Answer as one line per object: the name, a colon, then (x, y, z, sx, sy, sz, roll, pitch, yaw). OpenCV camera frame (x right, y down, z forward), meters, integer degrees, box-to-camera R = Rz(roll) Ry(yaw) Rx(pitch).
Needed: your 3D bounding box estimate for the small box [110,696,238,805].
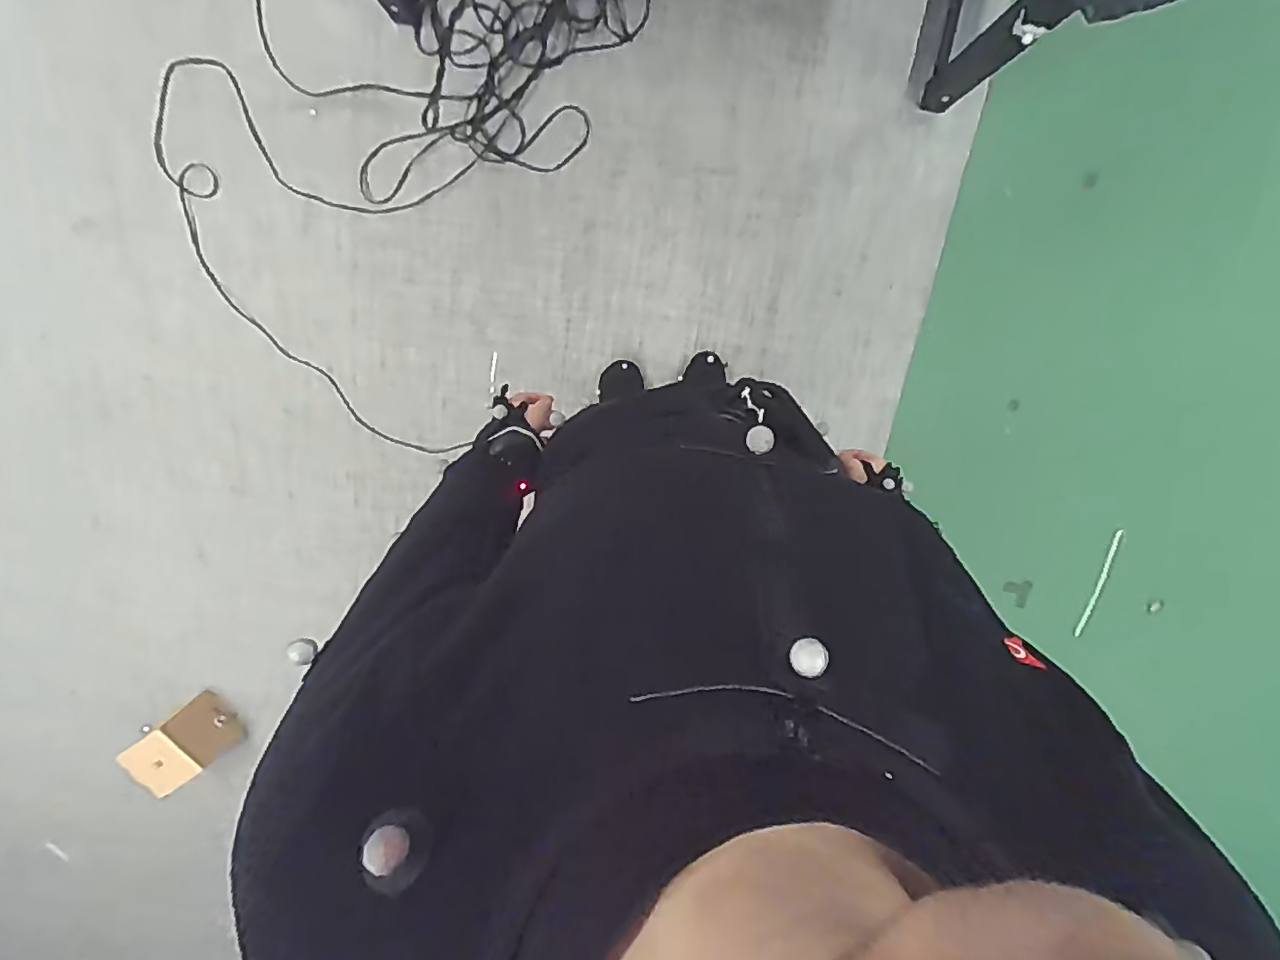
small box: (-1.283, 0.745, 1.503, 0.179, 0.176, 0.168, -34, 103, 8)
